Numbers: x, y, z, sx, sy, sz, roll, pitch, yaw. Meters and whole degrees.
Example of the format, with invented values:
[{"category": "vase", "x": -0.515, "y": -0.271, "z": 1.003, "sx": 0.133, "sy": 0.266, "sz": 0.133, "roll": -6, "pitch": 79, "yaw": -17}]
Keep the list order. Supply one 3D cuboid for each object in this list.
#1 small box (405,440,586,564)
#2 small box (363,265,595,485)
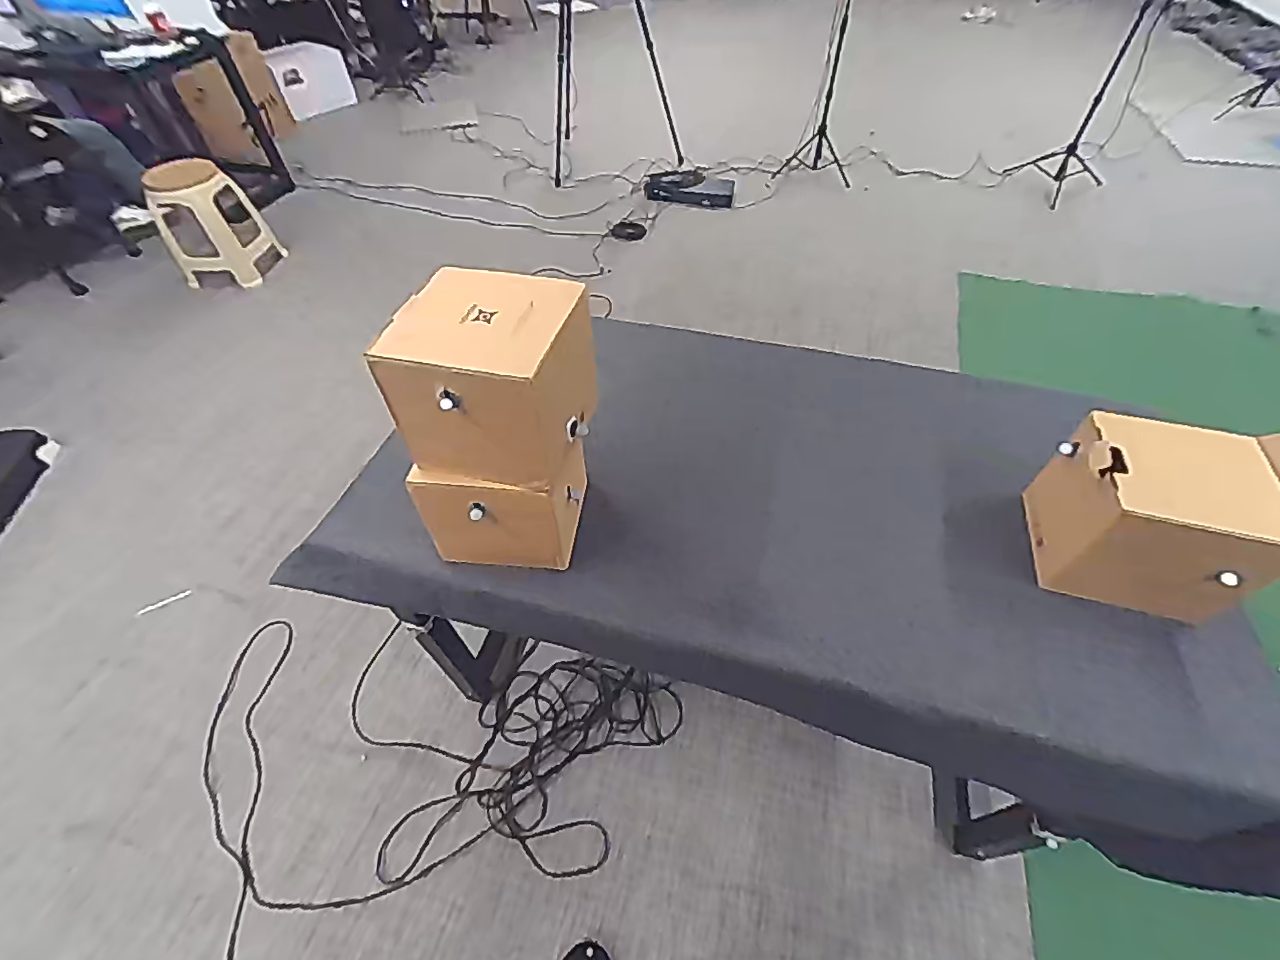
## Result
[{"category": "small box", "x": -0.174, "y": -0.002, "z": 0.722, "sx": 0.179, "sy": 0.176, "sz": 0.168, "roll": 4, "pitch": 49, "yaw": 5}, {"category": "small box", "x": -0.159, "y": -0.114, "z": 0.604, "sx": 0.179, "sy": 0.176, "sz": 0.168, "roll": 11, "pitch": 52, "yaw": 9}]
